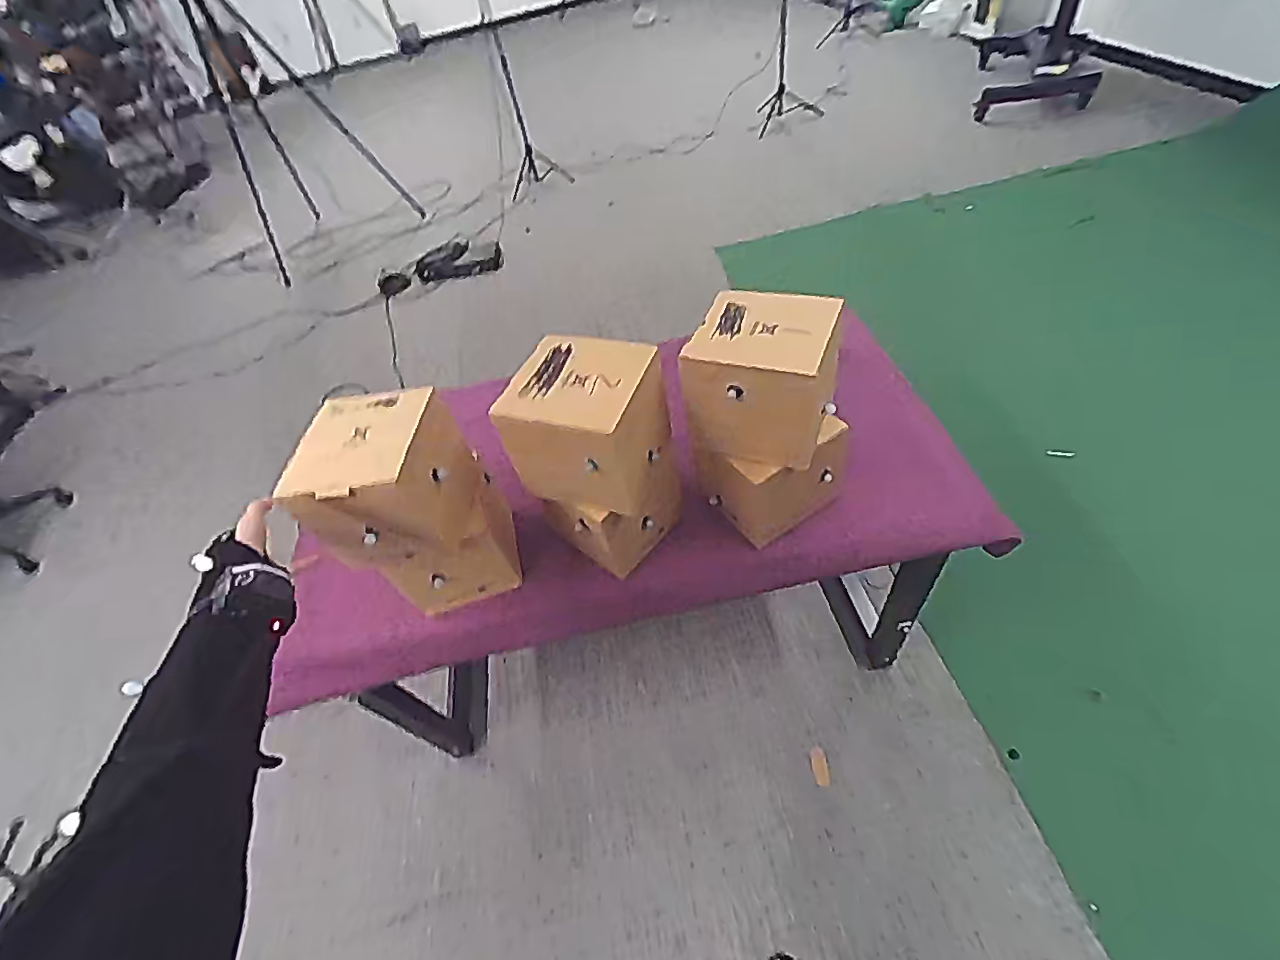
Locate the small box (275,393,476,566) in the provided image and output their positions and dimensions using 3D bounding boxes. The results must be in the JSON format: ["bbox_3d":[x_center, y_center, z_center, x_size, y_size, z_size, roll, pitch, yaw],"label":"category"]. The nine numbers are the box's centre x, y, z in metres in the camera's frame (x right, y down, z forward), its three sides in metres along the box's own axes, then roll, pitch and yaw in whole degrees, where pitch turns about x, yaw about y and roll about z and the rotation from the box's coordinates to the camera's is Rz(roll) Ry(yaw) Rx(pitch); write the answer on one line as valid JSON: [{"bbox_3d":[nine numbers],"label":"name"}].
[{"bbox_3d":[-0.347,0.008,0.752,0.168,0.176,0.179,-6,49,7],"label":"small box"}]

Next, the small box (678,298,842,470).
[{"bbox_3d":[0.171,-0.135,0.766,0.179,0.176,0.168,14,53,23],"label":"small box"}]

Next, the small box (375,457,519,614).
[{"bbox_3d":[-0.308,0.098,0.885,0.168,0.176,0.179,-19,48,-4],"label":"small box"}]

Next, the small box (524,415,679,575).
[{"bbox_3d":[-0.053,0.030,0.887,0.179,0.176,0.168,30,61,32],"label":"small box"}]

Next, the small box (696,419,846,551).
[{"bbox_3d":[0.202,-0.021,0.879,0.179,0.176,0.168,-31,49,-14],"label":"small box"}]
